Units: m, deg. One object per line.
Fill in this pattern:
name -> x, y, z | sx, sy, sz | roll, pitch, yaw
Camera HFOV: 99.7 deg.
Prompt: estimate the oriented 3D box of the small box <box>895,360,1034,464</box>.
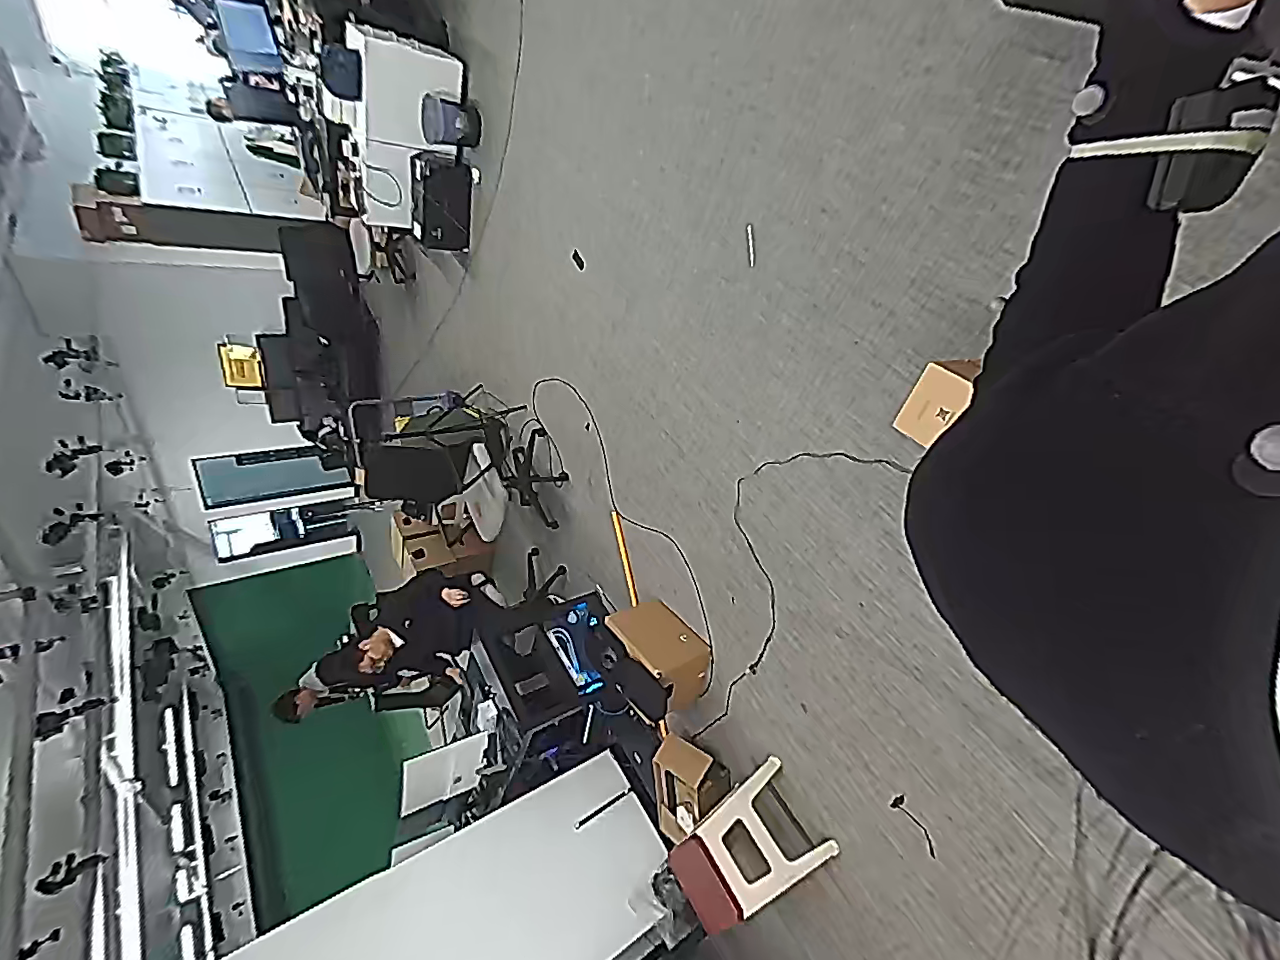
small box -> 0.717, -0.159, 1.196 | 0.179, 0.176, 0.168 | 47, 134, 37
